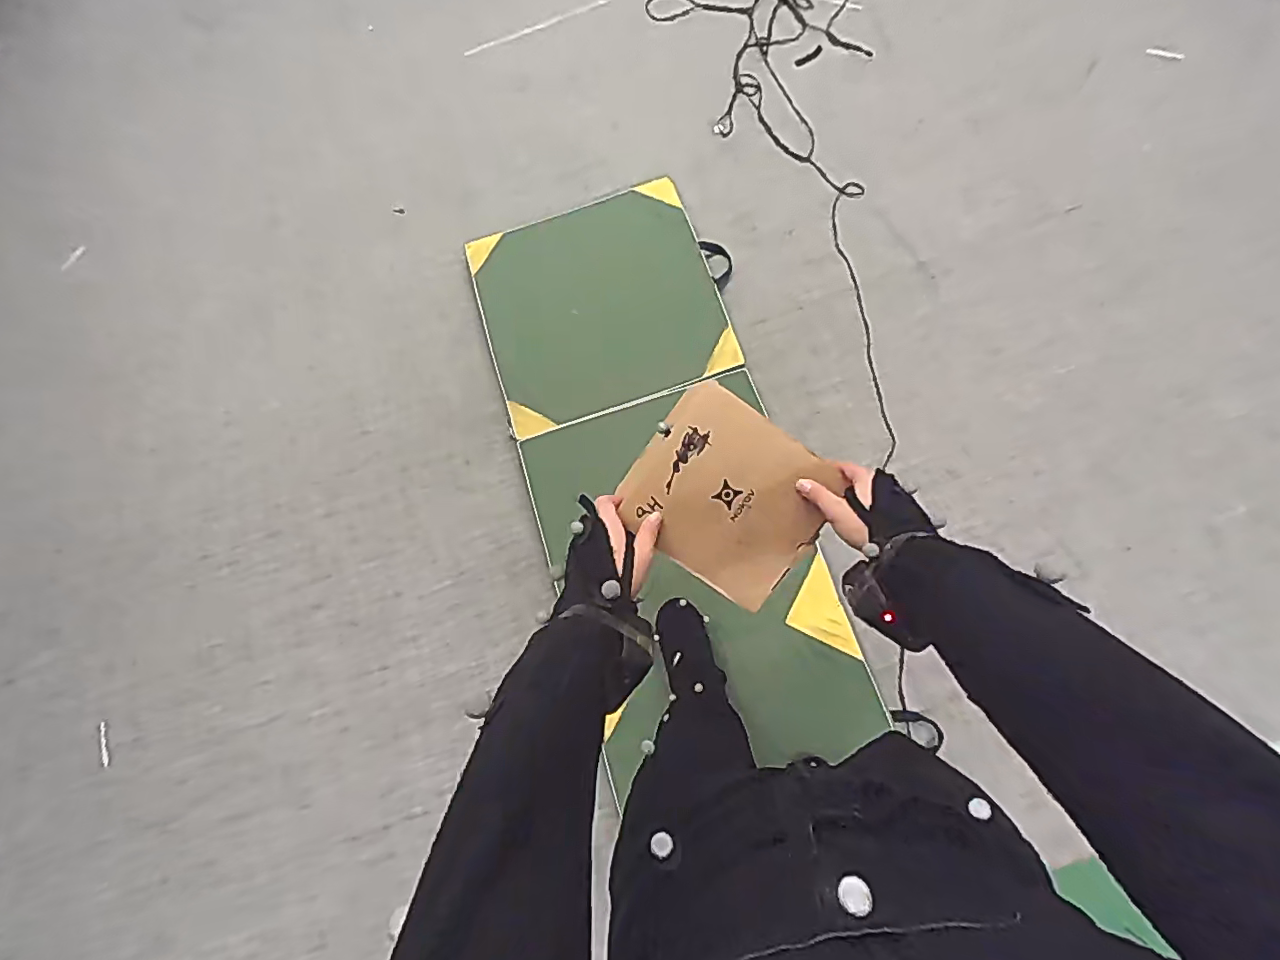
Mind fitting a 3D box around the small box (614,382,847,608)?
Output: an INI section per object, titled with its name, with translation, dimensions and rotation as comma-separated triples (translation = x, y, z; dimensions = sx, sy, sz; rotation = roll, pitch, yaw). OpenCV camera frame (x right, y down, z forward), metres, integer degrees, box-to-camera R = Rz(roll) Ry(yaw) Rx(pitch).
[small box]
translation = 0.087, 0.007, 0.610
dimensions = 0.179, 0.176, 0.168
rotation = 35, 94, -5
